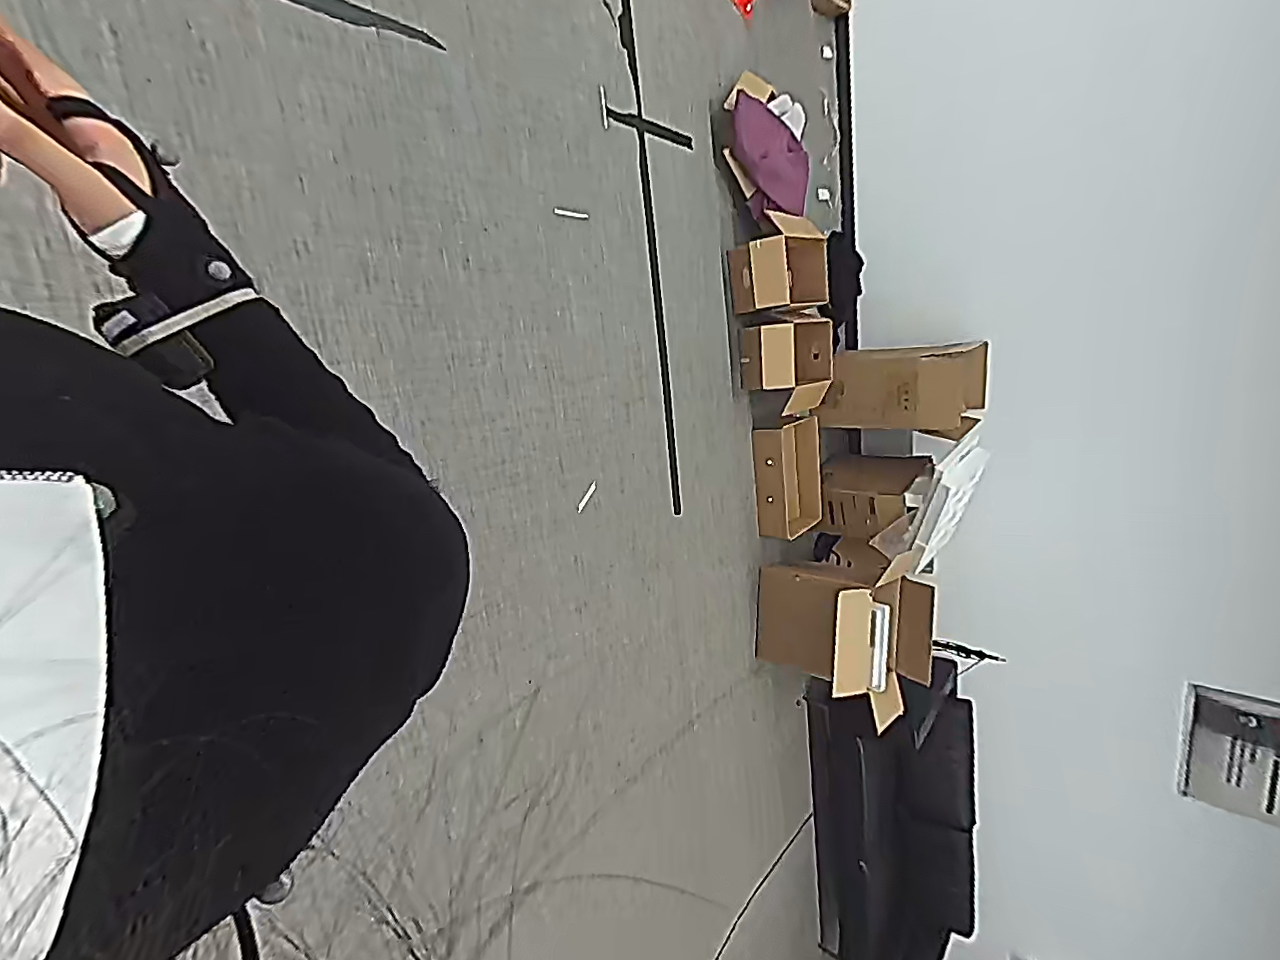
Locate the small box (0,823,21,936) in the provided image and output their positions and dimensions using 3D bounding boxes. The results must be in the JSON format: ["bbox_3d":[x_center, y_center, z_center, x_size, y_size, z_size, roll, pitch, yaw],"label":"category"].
[{"bbox_3d":[-0.992,0.558,0.733,0.168,0.176,0.179,-26,112,-44],"label":"small box"}]

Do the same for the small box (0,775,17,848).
[{"bbox_3d":[-1.118,0.548,0.836,0.168,0.176,0.179,-22,109,-44],"label":"small box"}]

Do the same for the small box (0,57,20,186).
[{"bbox_3d":[-0.461,-0.271,0.273,0.168,0.176,0.179,-16,111,-46],"label":"small box"}]
